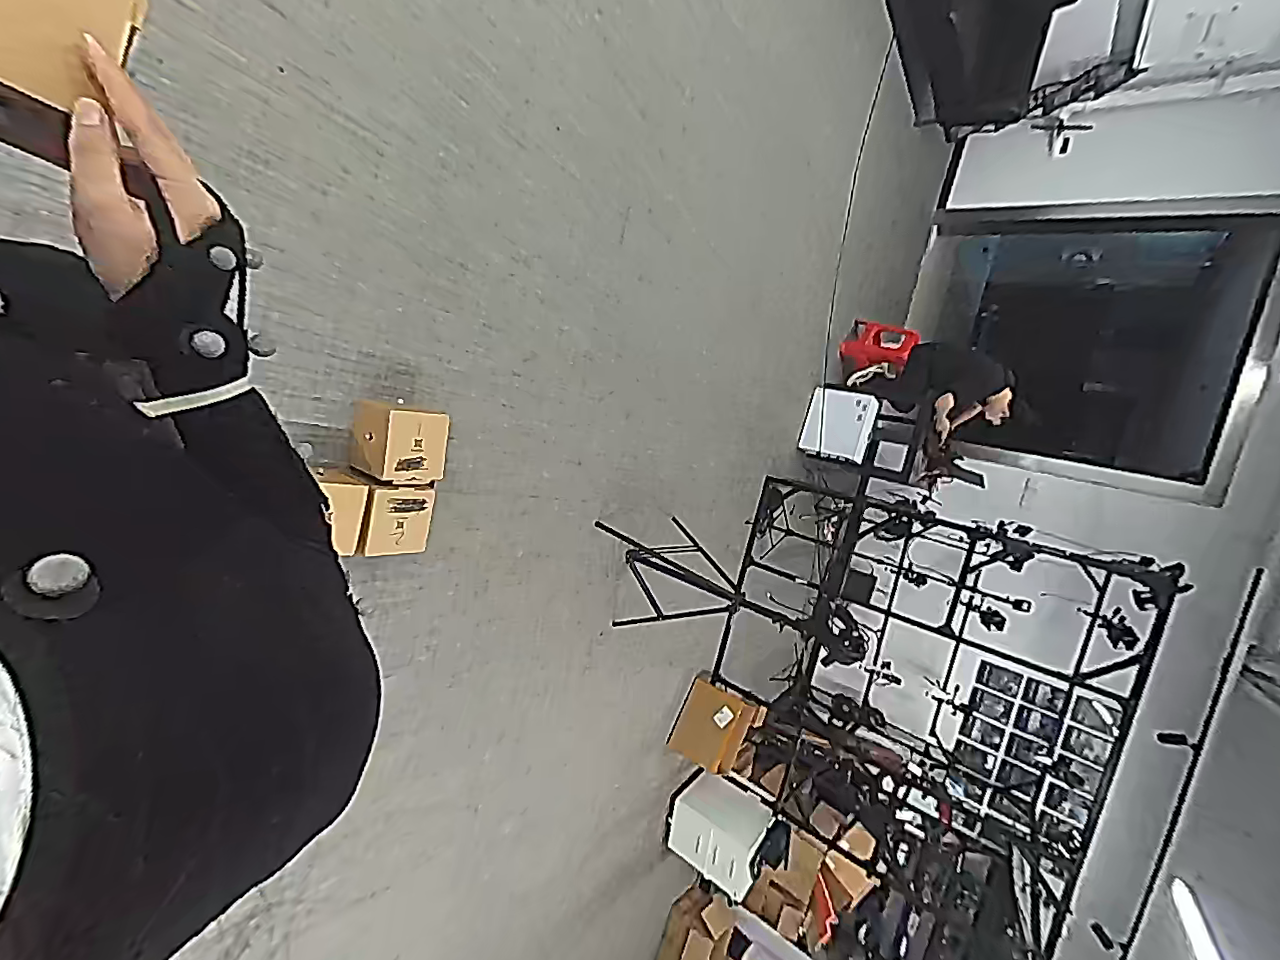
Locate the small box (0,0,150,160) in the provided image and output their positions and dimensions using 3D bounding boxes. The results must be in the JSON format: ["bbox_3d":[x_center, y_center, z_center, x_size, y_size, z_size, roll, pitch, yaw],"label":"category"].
[{"bbox_3d":[-0.378,-0.293,0.274,0.179,0.176,0.168,14,92,-53],"label":"small box"}]
